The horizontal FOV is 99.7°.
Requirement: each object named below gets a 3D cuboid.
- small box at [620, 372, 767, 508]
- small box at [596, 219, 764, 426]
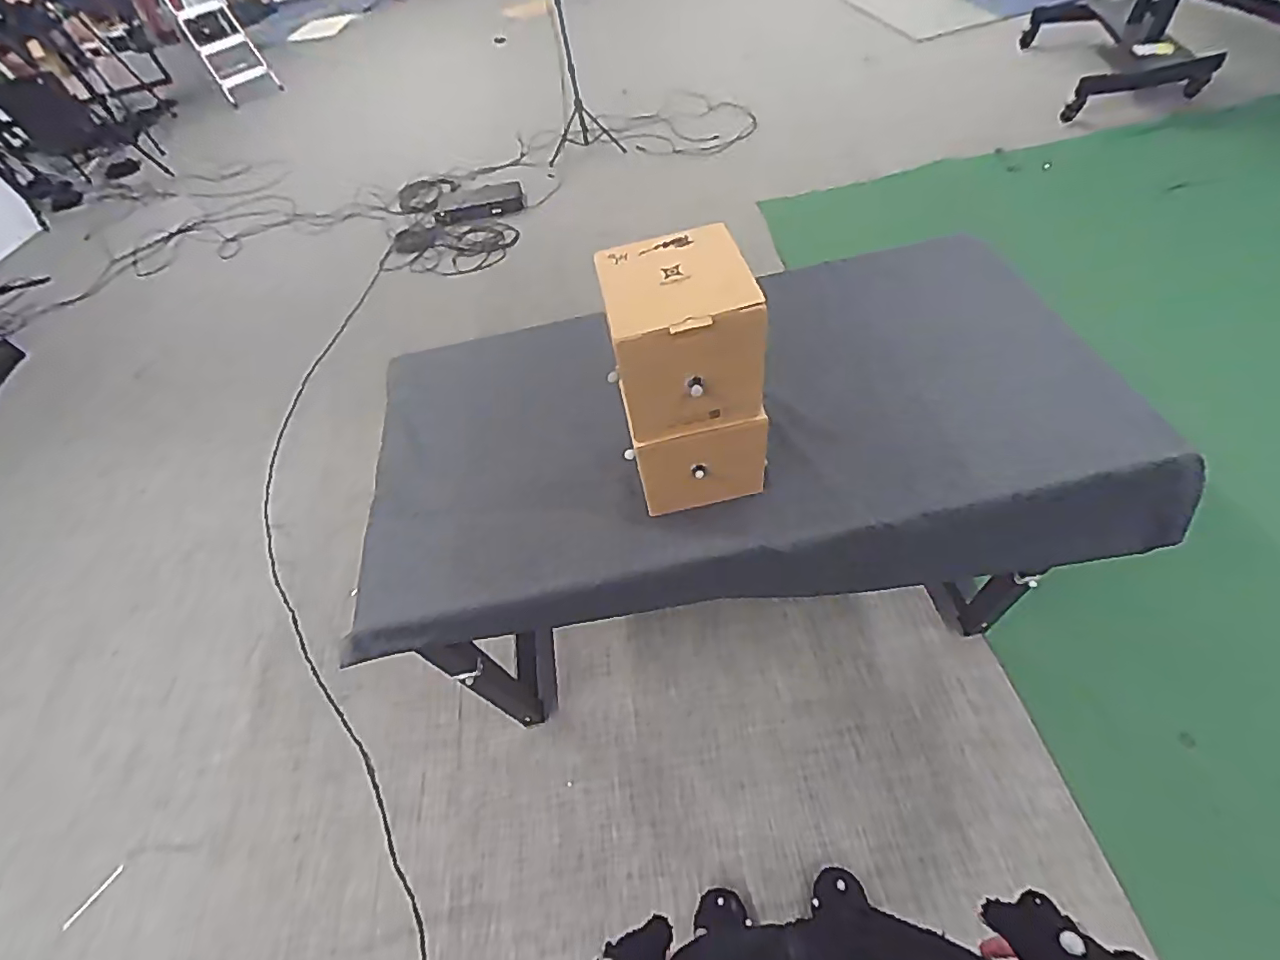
[{"bbox_3d":[0.076,-0.082,0.796,0.179,0.176,0.168,-13,54,1],"label":"small box"},{"bbox_3d":[0.050,-0.186,0.673,0.168,0.176,0.179,-12,54,1],"label":"small box"}]
